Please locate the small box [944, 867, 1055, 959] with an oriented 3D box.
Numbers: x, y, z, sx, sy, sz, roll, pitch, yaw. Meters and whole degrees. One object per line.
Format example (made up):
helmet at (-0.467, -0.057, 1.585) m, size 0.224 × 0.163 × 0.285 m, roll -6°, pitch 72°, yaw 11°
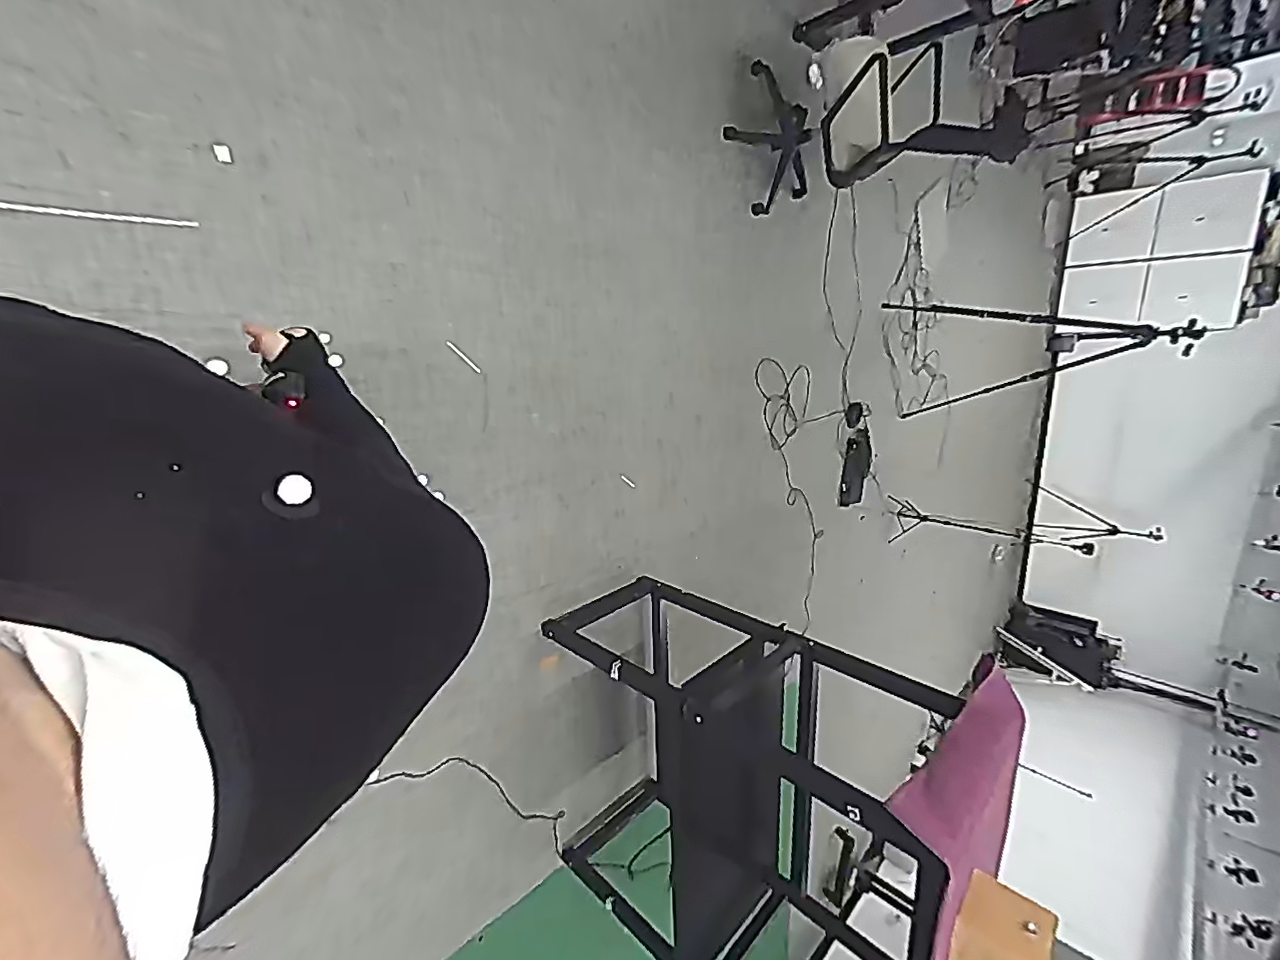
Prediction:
small box at (0.794, 1.025, 1.199) m, size 0.179 × 0.176 × 0.168 m, roll -16°, pitch 110°, yaw -44°
